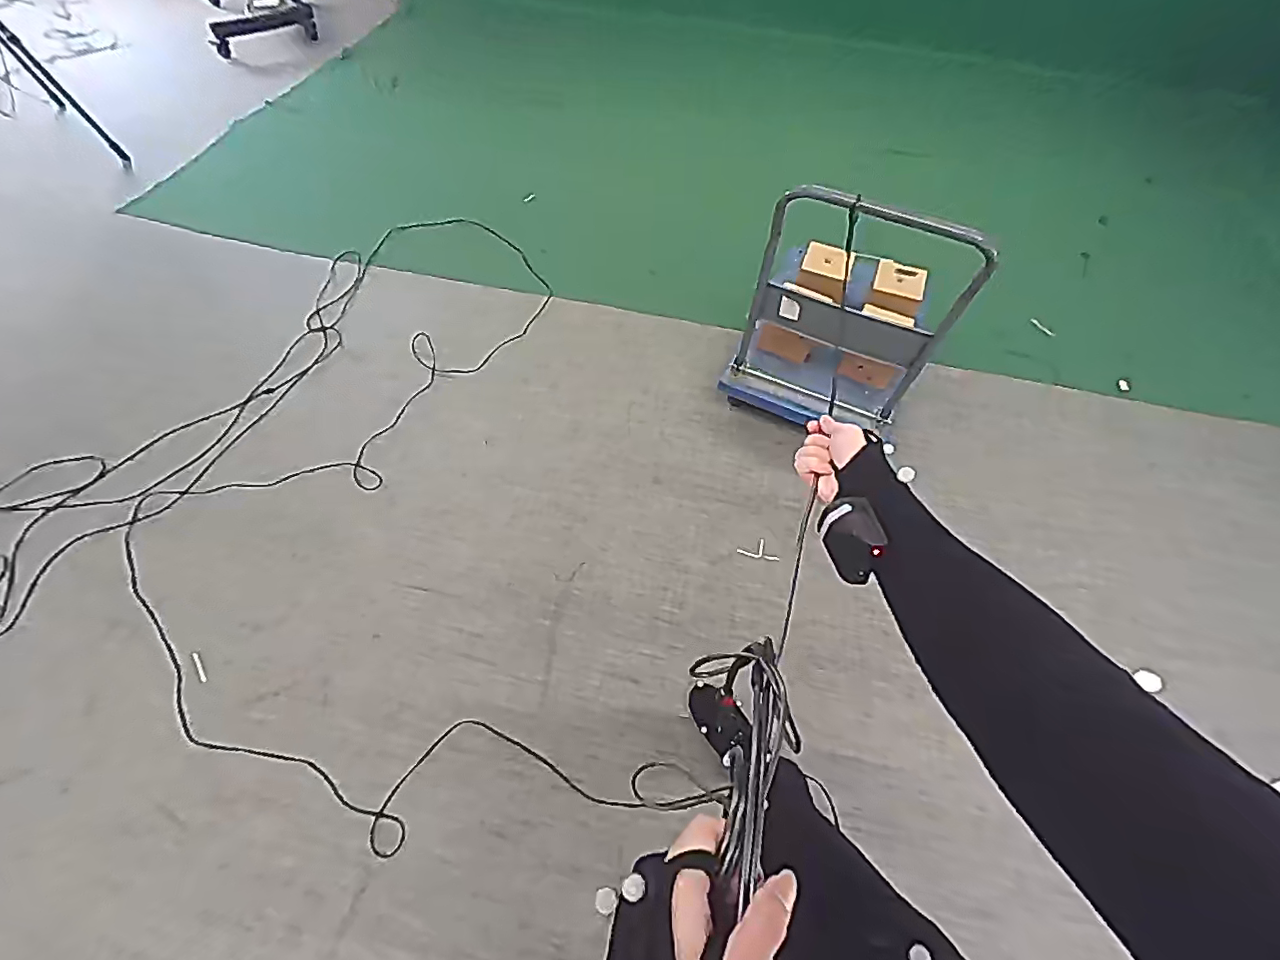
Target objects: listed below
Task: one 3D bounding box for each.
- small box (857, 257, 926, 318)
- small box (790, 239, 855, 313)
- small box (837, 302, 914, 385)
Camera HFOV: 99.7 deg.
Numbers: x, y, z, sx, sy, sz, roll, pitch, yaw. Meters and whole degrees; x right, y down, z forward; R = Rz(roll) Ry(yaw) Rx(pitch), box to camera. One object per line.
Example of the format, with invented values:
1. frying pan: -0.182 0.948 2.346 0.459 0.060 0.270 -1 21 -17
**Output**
1. small box: 0.894 -0.658 1.930 0.168 0.176 0.179 19 60 11
2. small box: 0.661 -0.740 1.974 0.168 0.176 0.179 20 59 10
3. small box: 0.777 -0.453 1.798 0.168 0.176 0.179 24 60 13
